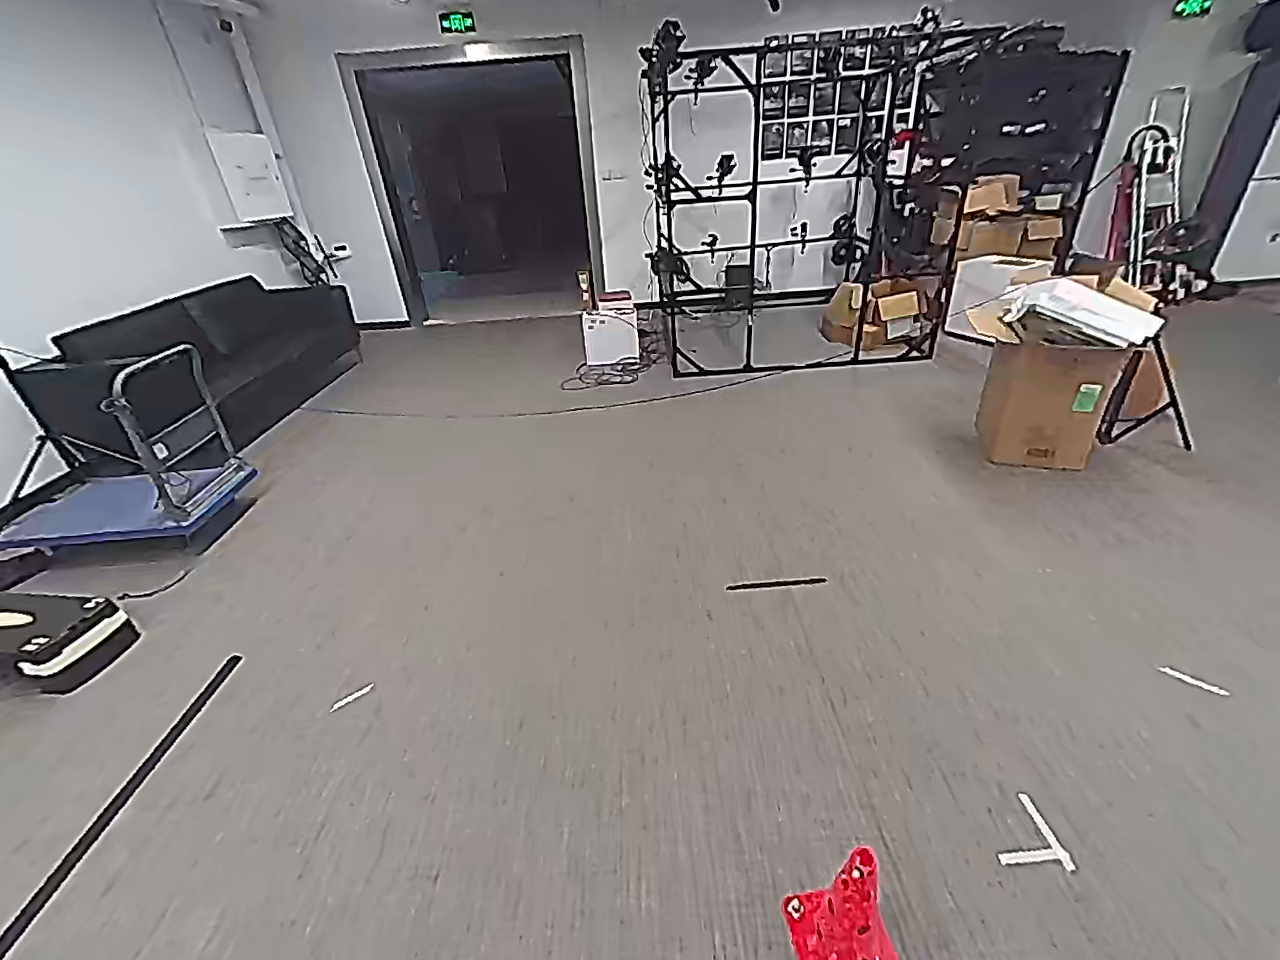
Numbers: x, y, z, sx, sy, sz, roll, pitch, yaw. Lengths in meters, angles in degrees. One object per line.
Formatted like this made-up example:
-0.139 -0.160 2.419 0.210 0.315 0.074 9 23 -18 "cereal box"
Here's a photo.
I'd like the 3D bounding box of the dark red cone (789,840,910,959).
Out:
0.414 0.792 1.011 0.202 0.394 0.201 -8 31 -5 "dark red cone"
